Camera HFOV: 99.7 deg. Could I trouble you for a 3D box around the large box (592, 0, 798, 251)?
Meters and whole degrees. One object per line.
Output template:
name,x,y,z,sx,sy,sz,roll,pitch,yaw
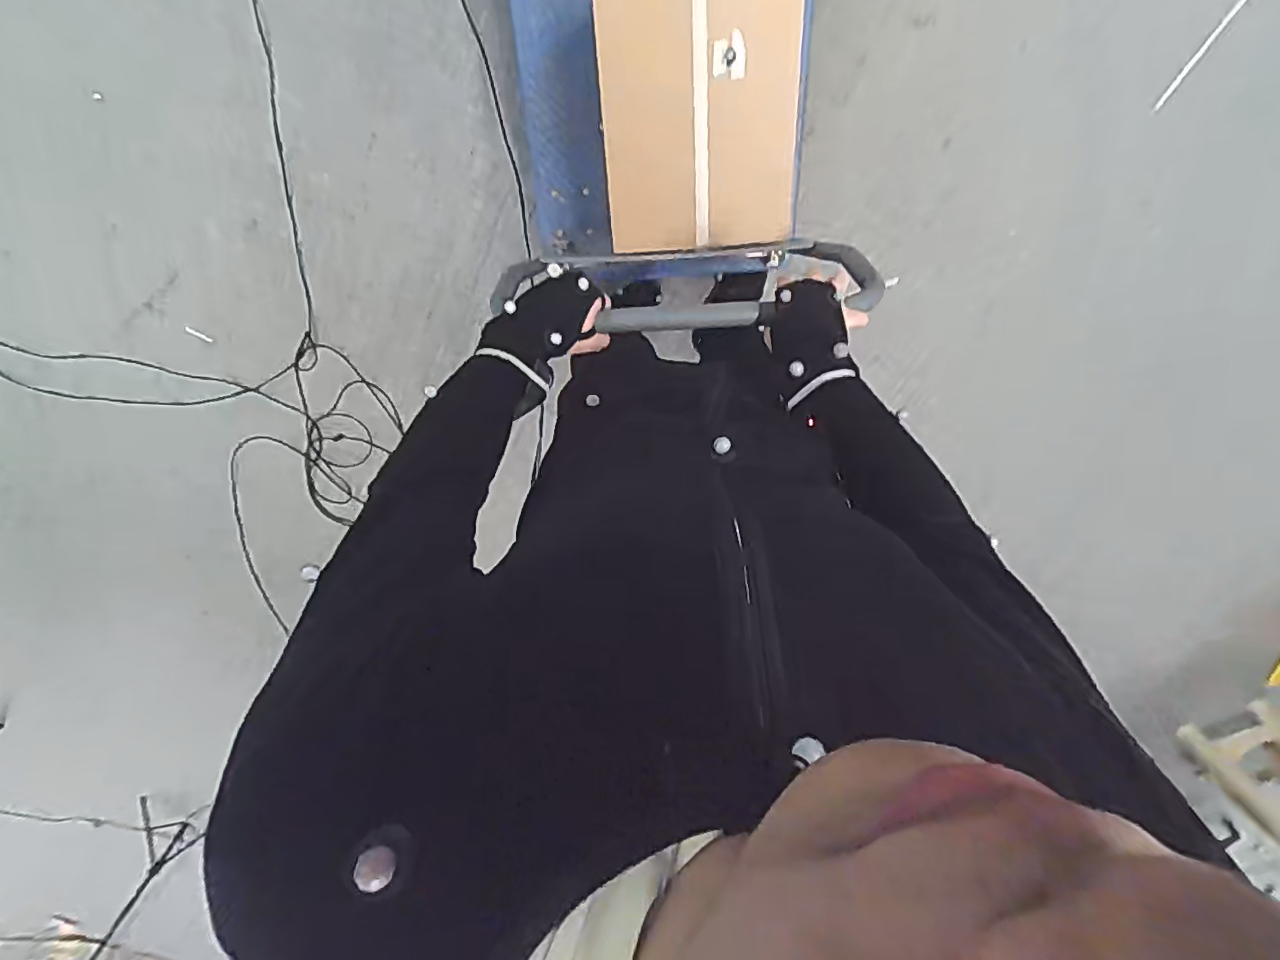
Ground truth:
large box,0.101,-0.673,1.011,0.320,0.320,0.408,-3,119,3
